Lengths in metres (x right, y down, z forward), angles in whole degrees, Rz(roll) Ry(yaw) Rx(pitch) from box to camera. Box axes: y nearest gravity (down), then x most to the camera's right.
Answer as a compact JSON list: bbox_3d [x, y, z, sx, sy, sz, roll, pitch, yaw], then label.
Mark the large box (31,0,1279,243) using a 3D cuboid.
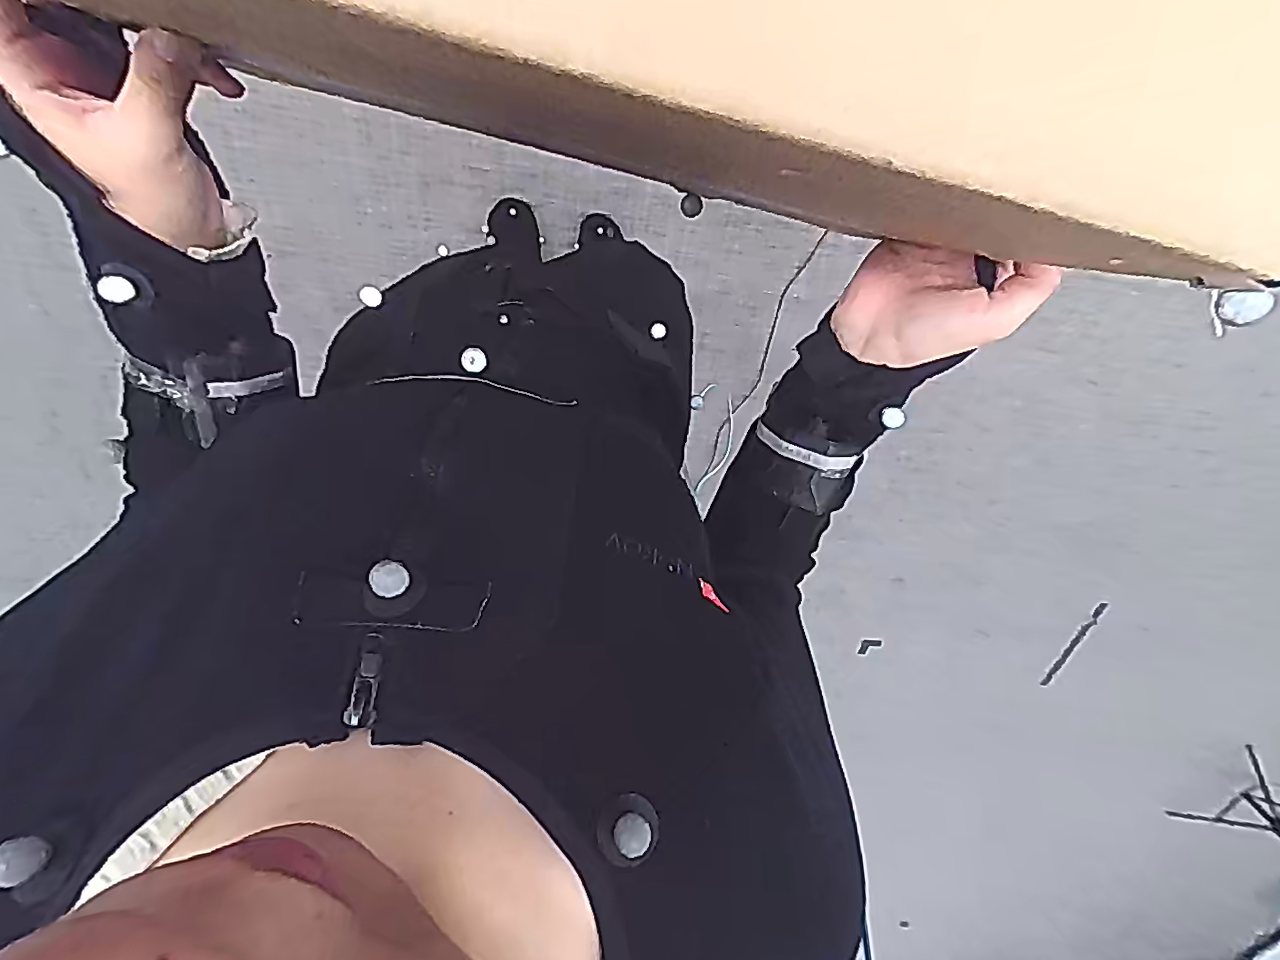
[{"bbox_3d":[-0.009,-0.293,0.174,0.408,0.320,0.320,8,118,-9],"label":"large box"}]
